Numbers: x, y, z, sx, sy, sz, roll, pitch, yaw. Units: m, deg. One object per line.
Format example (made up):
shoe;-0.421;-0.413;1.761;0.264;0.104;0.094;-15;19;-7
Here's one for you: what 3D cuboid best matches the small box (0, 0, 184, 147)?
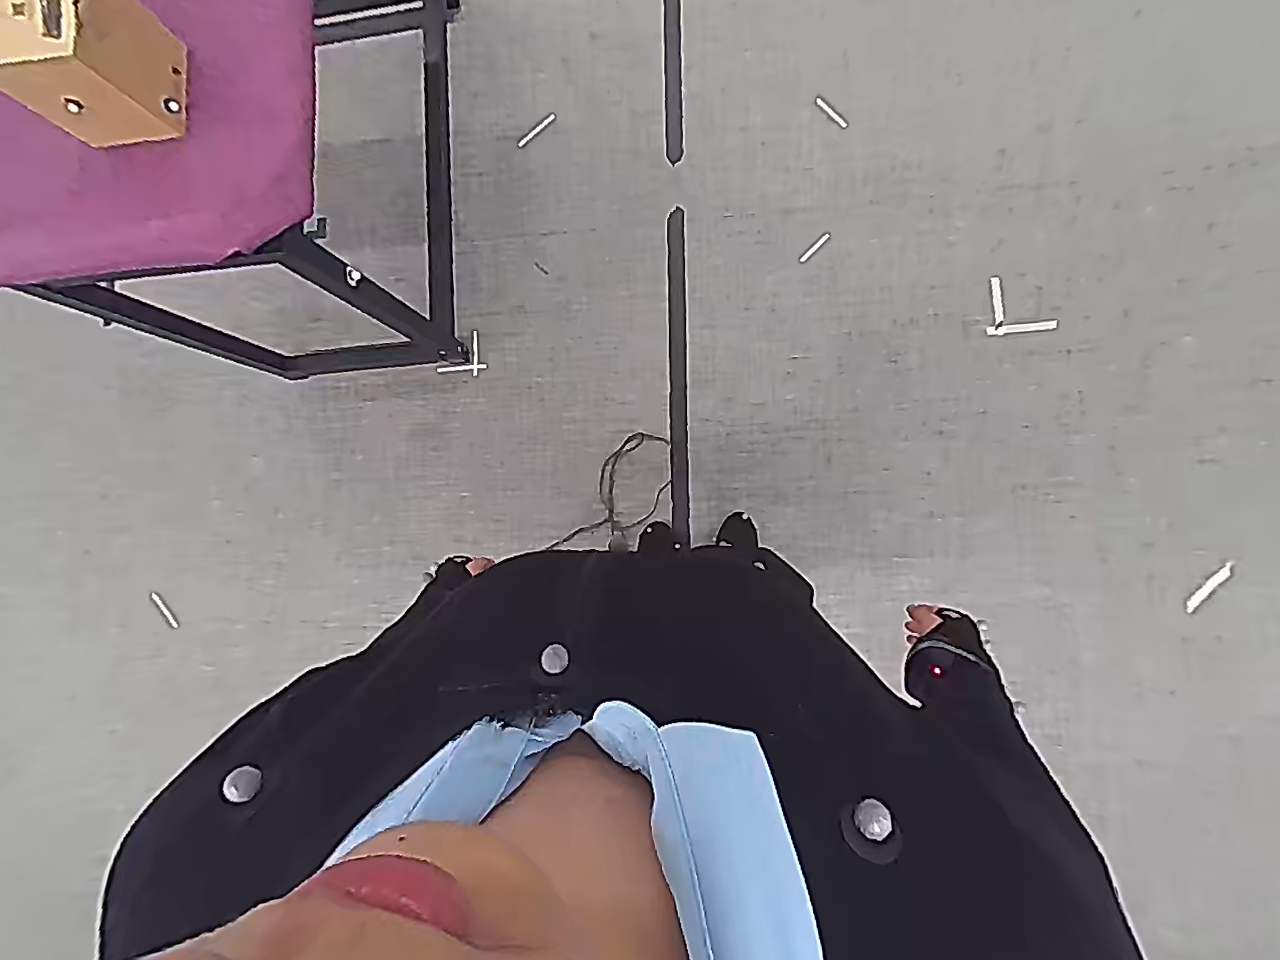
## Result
small box;-0.868;-0.662;0.851;0.179;0.176;0.168;-3;85;6
